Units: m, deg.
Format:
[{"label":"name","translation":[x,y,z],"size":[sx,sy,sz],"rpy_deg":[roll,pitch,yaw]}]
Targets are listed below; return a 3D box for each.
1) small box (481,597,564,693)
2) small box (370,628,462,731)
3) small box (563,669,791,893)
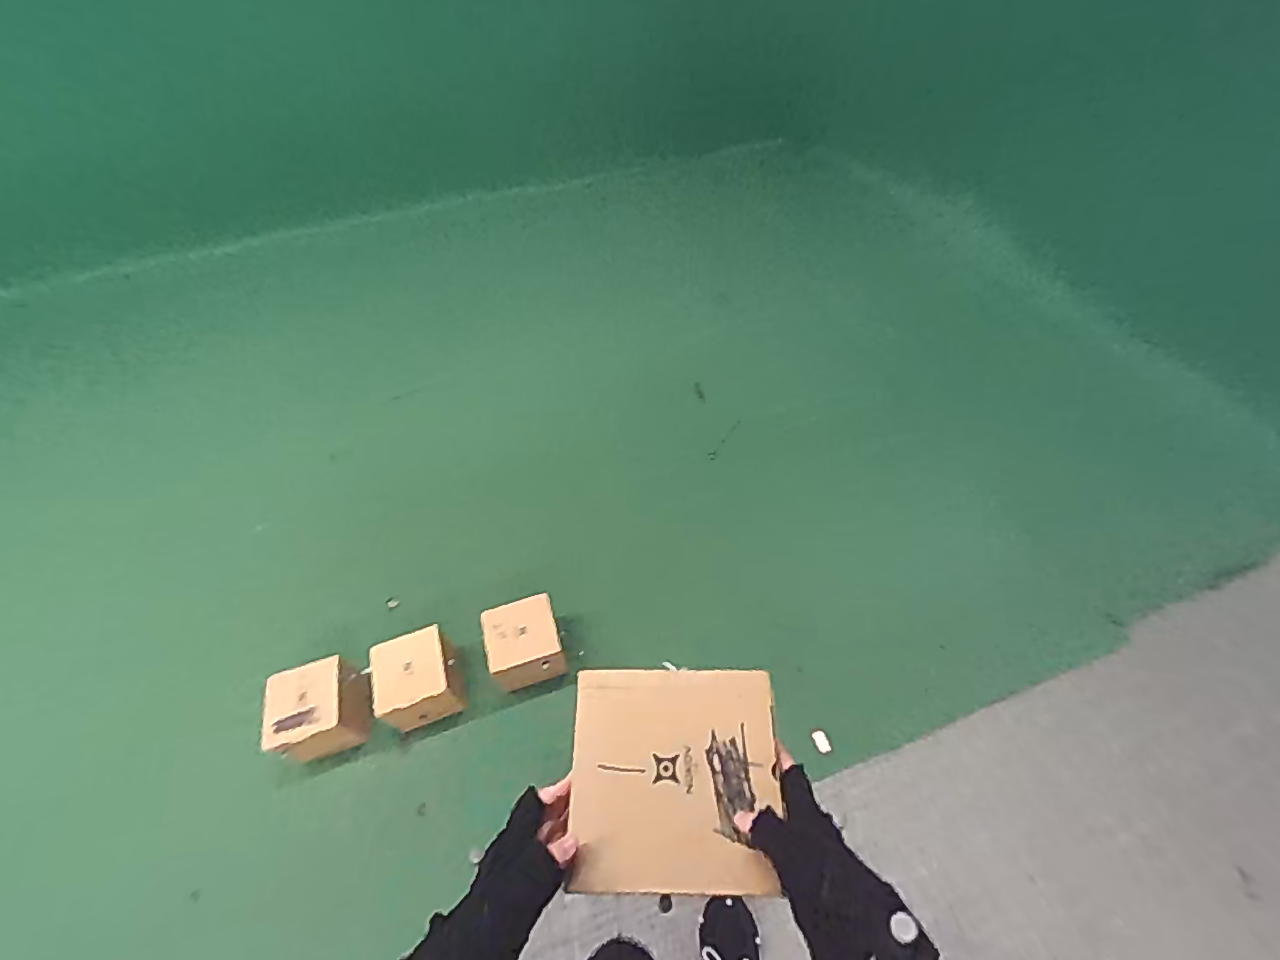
[{"label":"small box","translation":[-0.302,0.434,1.414],"size":[0.179,0.176,0.168],"rpy_deg":[-15,54,-10]},{"label":"small box","translation":[-0.564,0.507,1.370],"size":[0.168,0.176,0.179],"rpy_deg":[-17,56,-11]},{"label":"small box","translation":[0.028,0.288,0.518],"size":[0.179,0.176,0.168],"rpy_deg":[0,54,0]}]
